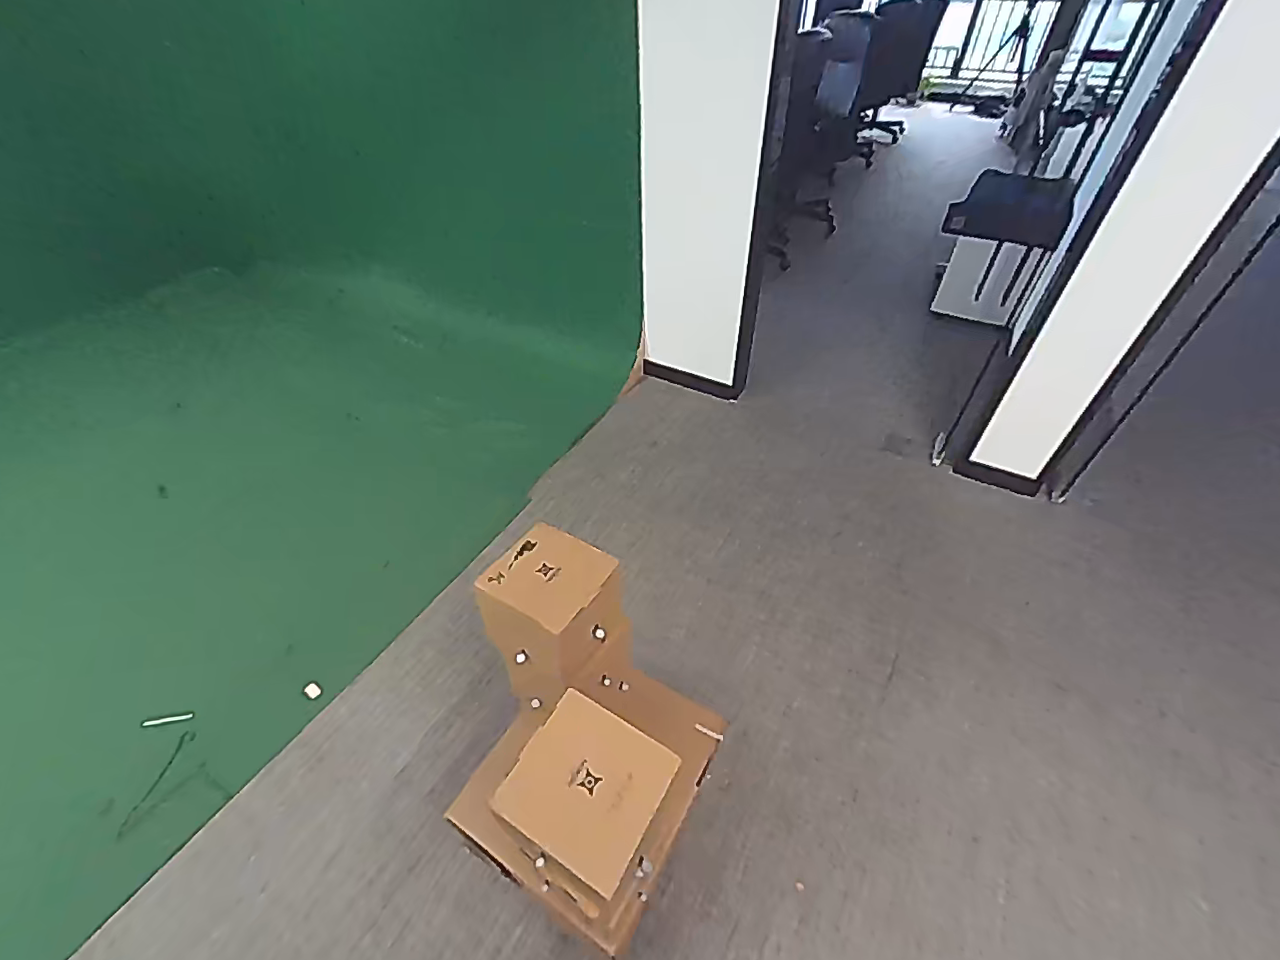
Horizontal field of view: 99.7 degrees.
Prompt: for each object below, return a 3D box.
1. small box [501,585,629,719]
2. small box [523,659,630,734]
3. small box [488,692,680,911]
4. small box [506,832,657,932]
[{"bbox_3d":[-0.136,0.341,1.025,0.168,0.176,0.179,24,47,24],"label":"small box"},{"bbox_3d":[-0.137,0.453,1.147,0.168,0.176,0.179,22,45,23],"label":"small box"},{"bbox_3d":[-0.066,0.420,0.704,0.179,0.176,0.168,24,50,21],"label":"small box"},{"bbox_3d":[-0.076,0.534,0.821,0.168,0.176,0.179,27,51,23],"label":"small box"}]
